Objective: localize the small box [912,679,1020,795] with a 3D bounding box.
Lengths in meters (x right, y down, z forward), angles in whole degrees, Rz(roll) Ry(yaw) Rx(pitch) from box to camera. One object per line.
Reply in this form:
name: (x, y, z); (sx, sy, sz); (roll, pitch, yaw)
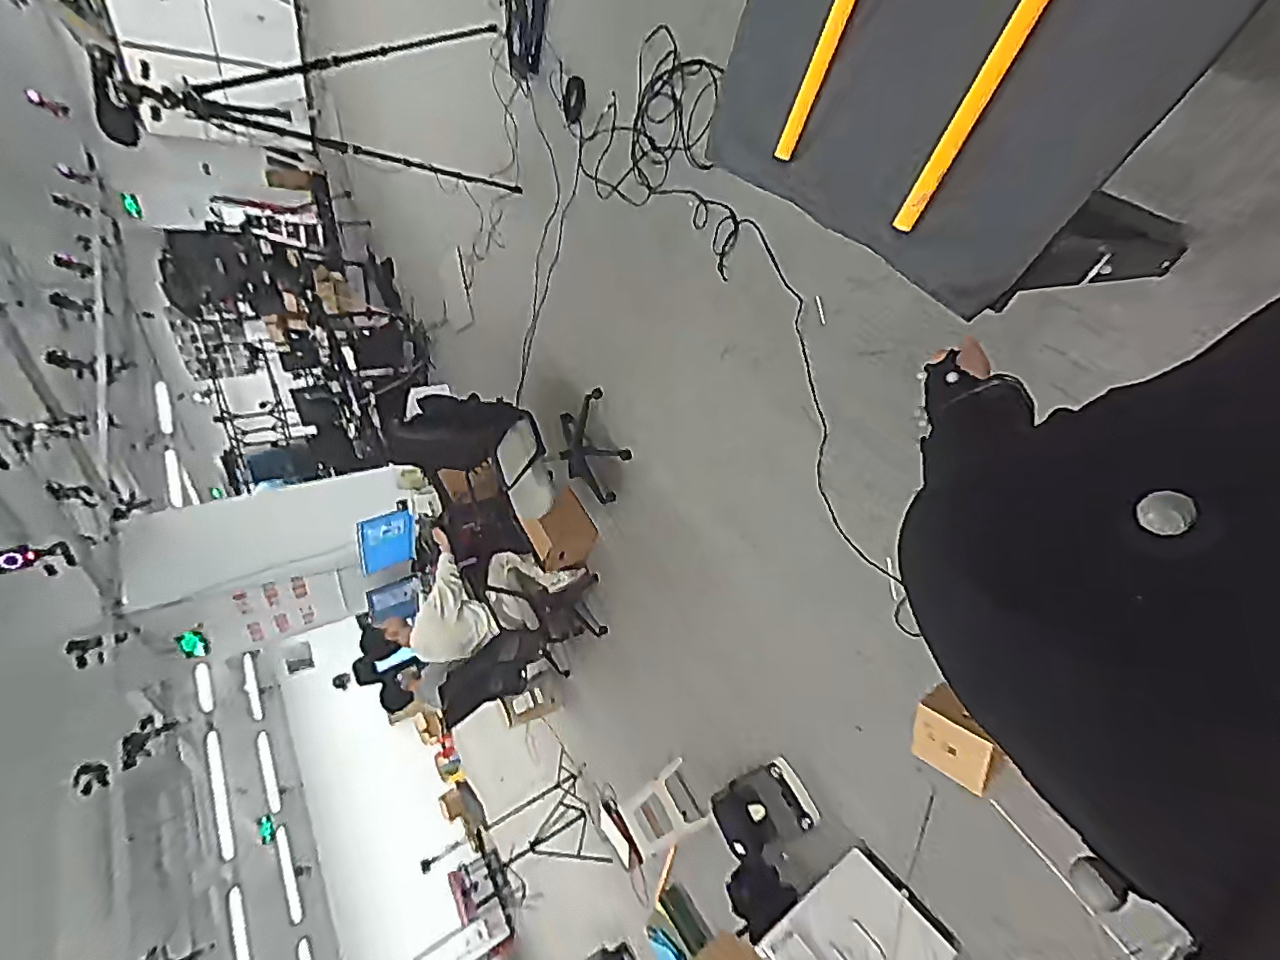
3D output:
small box: (0.827, 0.638, 1.372); (0.179, 0.176, 0.168); (23, 121, 50)
